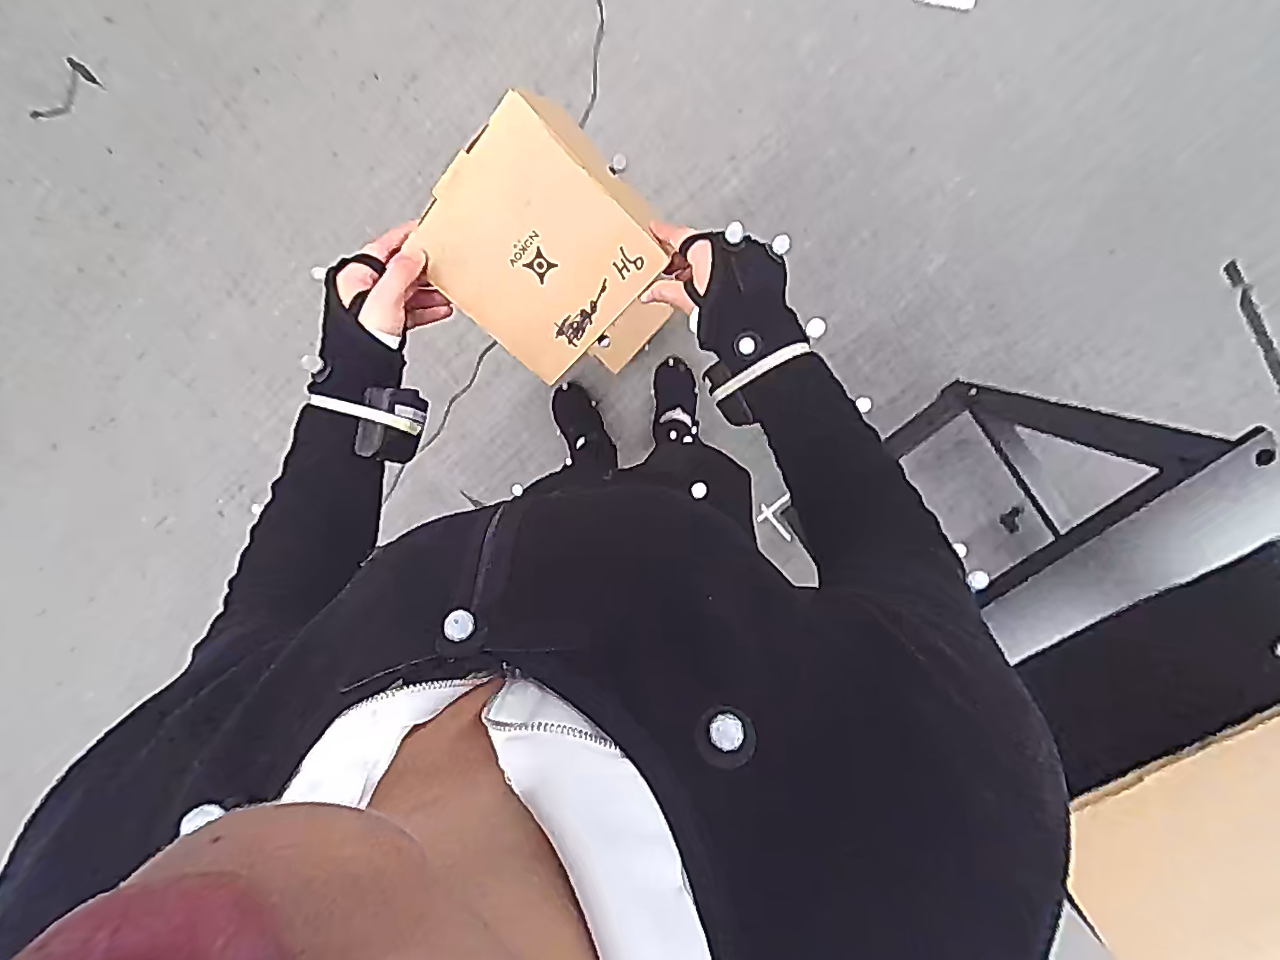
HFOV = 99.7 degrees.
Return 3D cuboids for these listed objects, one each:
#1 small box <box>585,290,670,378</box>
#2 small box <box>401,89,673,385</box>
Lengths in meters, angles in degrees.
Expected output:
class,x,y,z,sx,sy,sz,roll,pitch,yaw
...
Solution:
class,x,y,z,sx,sy,sz,roll,pitch,yaw
small box,-0.054,-0.340,1.145,0.168,0.176,0.179,41,101,-12
small box,-0.086,-0.230,0.528,0.179,0.176,0.168,41,116,-19
